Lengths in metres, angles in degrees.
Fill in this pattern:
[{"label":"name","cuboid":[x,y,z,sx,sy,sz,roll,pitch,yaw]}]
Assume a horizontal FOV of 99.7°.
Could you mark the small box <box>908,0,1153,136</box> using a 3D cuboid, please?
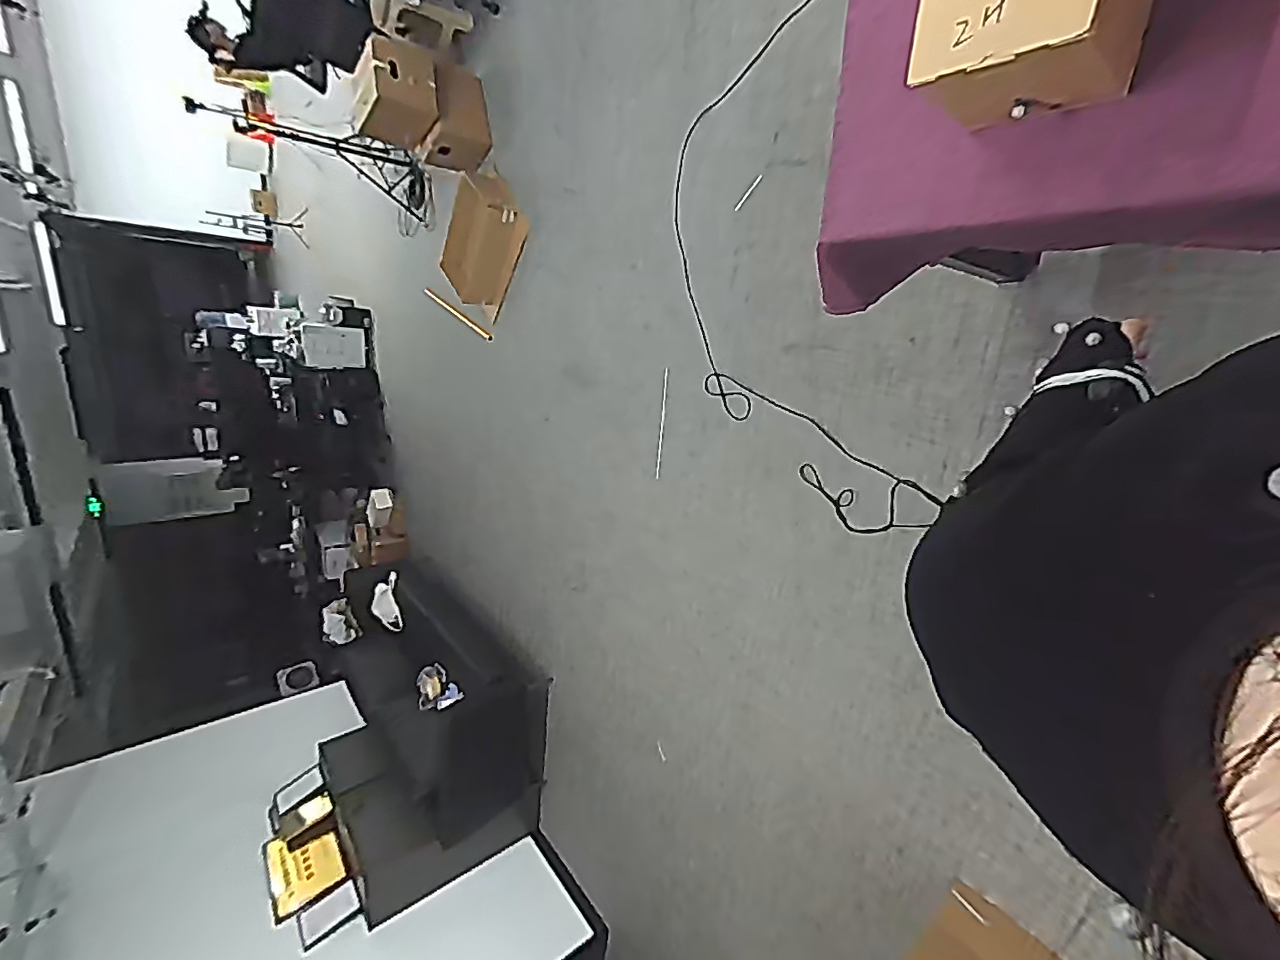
[{"label":"small box","cuboid":[0.418,-0.502,0.573,0.168,0.176,0.179,21,112,47]}]
